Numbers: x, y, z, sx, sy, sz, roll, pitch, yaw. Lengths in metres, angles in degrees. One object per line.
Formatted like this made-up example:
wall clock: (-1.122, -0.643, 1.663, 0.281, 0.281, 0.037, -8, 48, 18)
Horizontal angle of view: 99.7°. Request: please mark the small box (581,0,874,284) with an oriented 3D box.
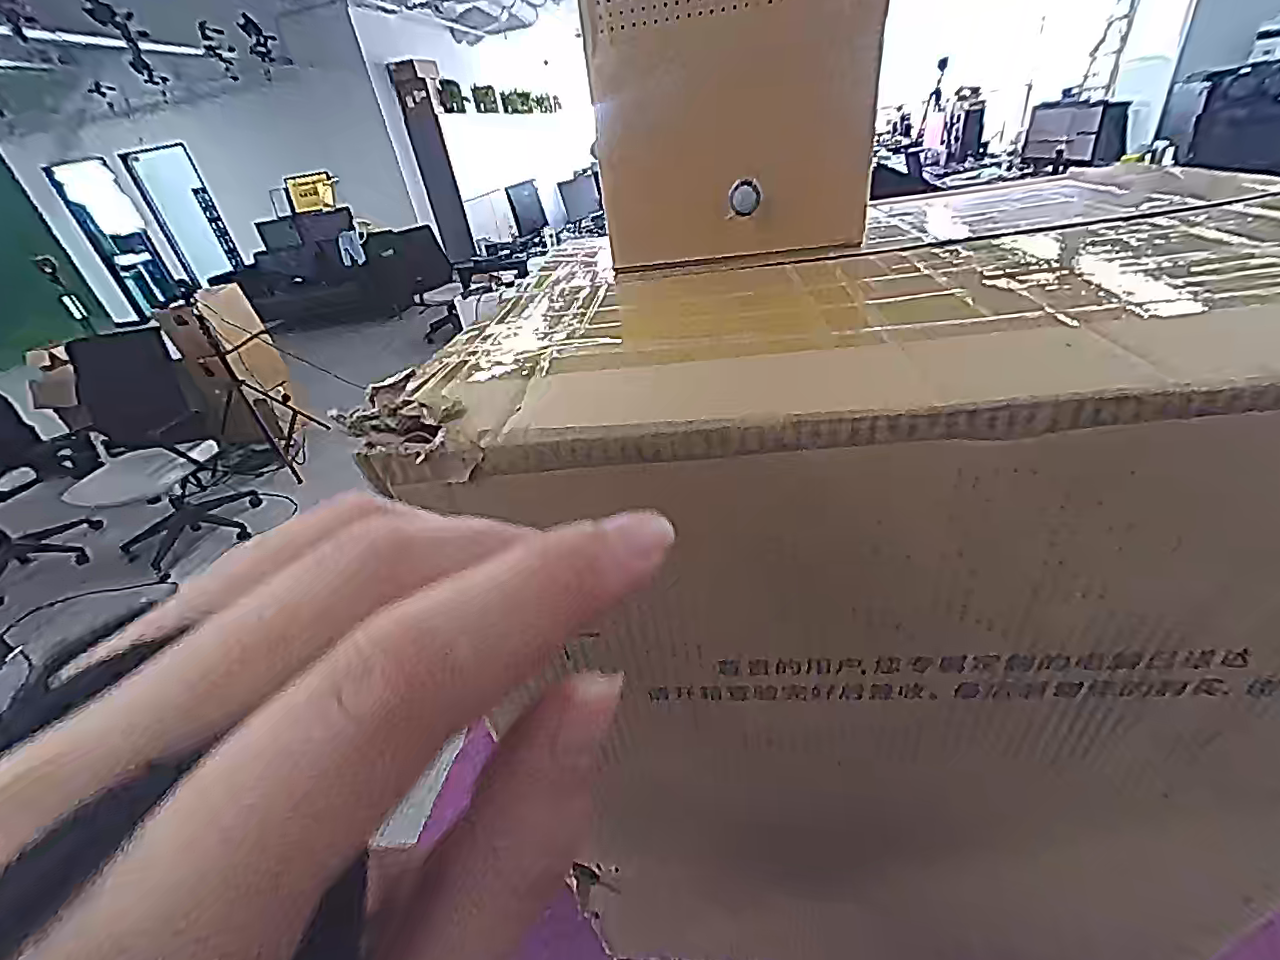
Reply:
small box: (0.060, -0.259, 0.405, 0.179, 0.176, 0.168, -3, 33, 10)
